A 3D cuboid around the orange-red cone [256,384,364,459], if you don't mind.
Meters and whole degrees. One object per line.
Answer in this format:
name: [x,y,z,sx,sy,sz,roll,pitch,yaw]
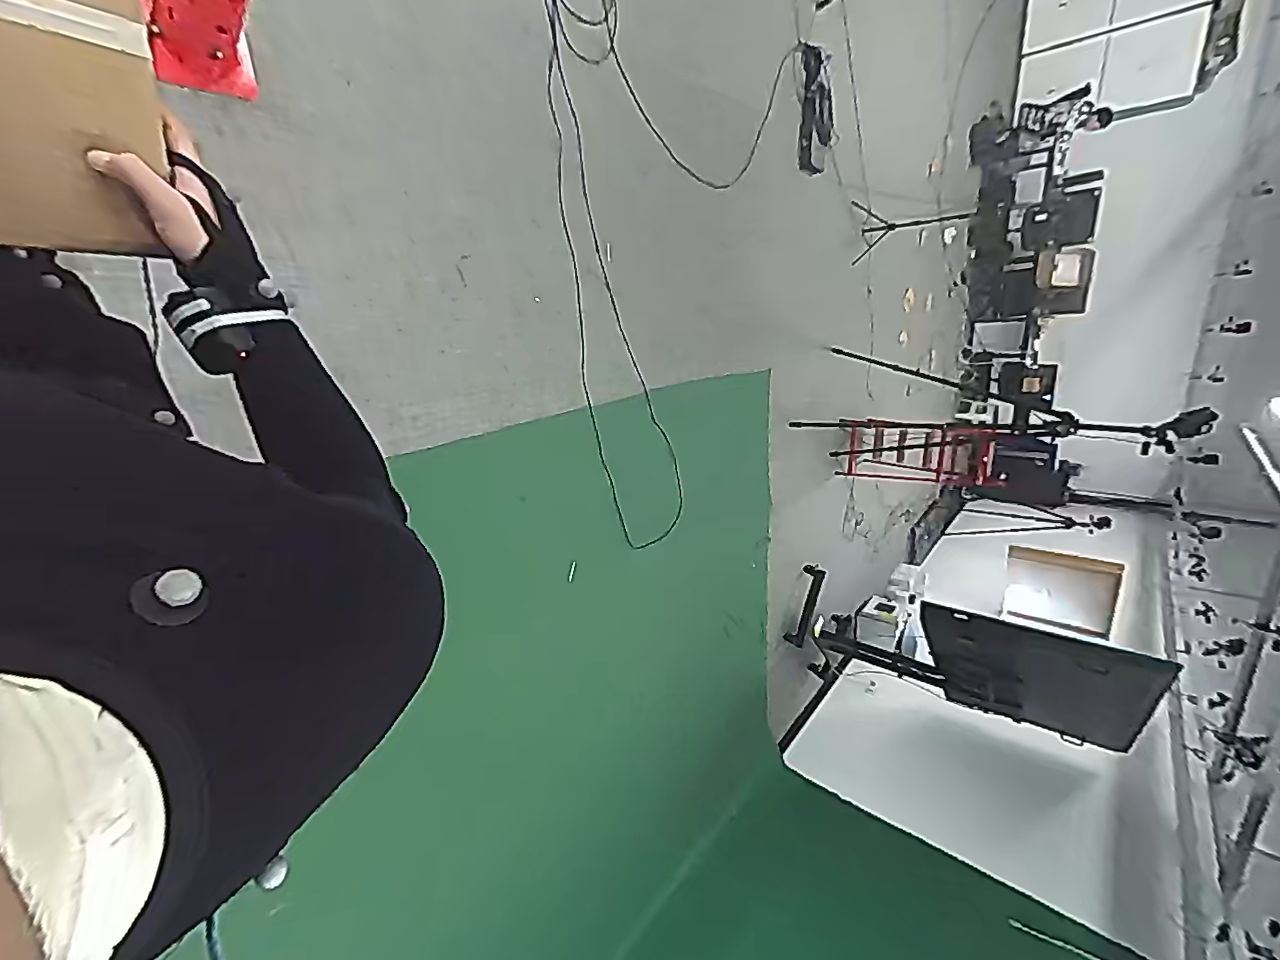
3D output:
orange-red cone: [-0.794,-0.134,1.367,0.199,0.360,0.198,-14,110,-49]
